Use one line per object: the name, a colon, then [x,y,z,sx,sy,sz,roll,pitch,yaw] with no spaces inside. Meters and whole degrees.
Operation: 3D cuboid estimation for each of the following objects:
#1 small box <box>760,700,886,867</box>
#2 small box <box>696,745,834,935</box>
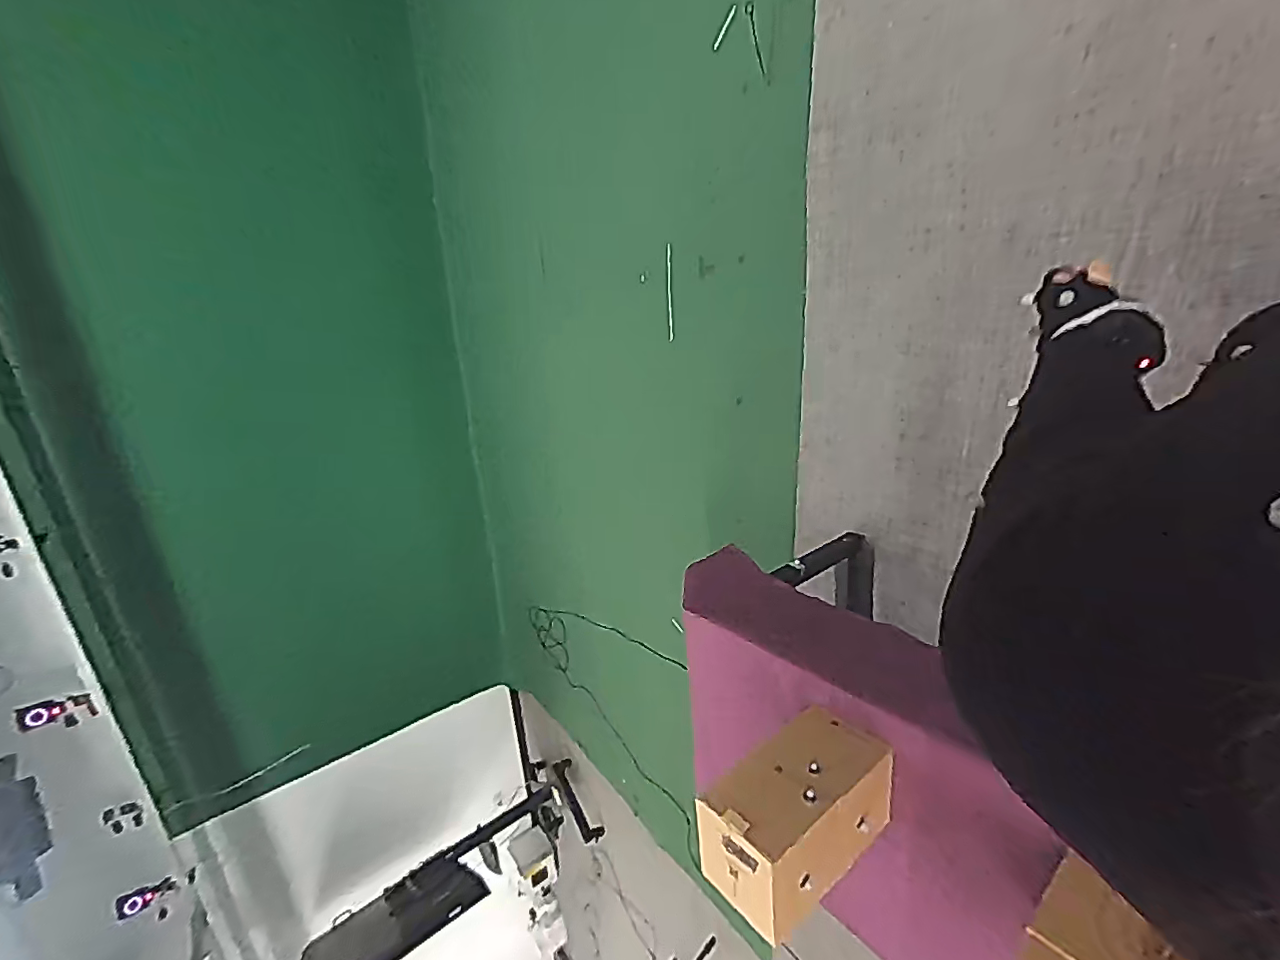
small box: [0.346,0.559,1.022,0.168,0.176,0.179,15,116,49]
small box: [0.216,0.600,0.929,0.168,0.176,0.179,15,116,51]
